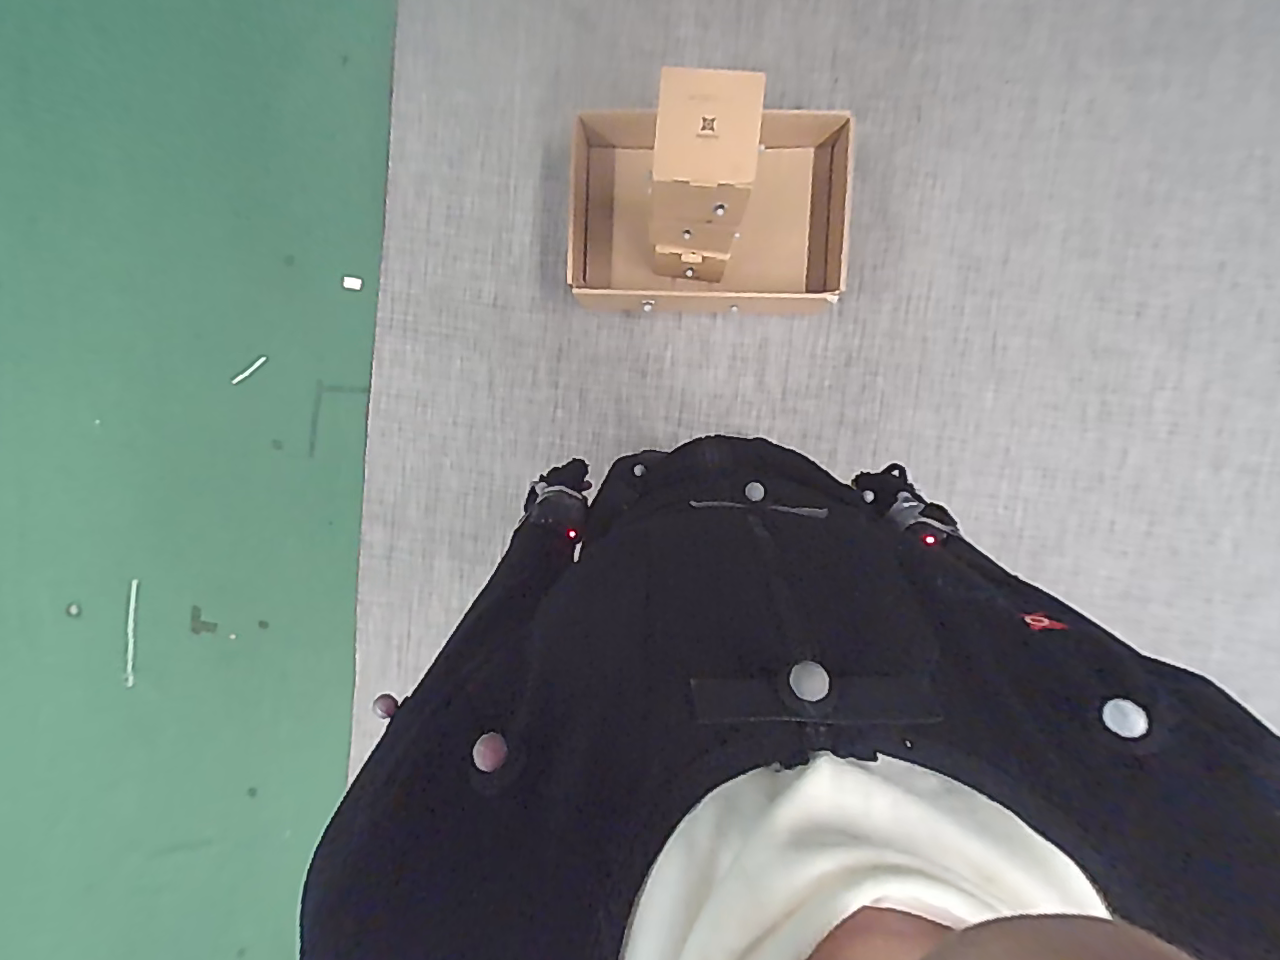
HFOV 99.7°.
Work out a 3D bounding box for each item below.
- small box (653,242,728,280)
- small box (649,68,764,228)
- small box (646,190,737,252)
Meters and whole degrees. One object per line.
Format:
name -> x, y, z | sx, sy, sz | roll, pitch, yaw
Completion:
small box -> 0.125, -0.580, 1.256 | 0.168, 0.176, 0.179 | 9, 95, 2
small box -> 0.107, -0.557, 0.930 | 0.168, 0.176, 0.179 | 6, 92, 1
small box -> 0.115, -0.578, 1.091 | 0.179, 0.176, 0.168 | 11, 94, 3
